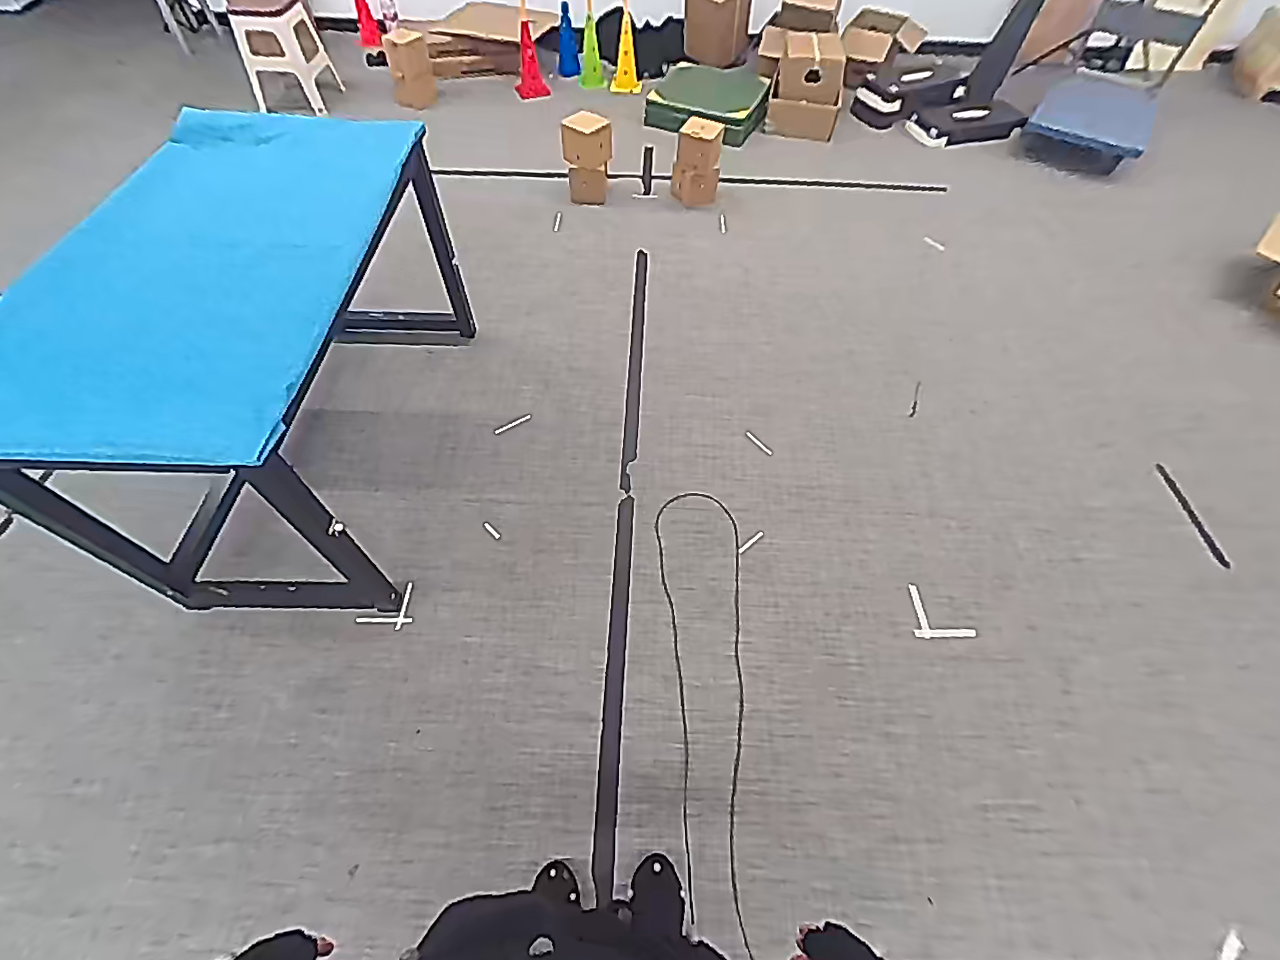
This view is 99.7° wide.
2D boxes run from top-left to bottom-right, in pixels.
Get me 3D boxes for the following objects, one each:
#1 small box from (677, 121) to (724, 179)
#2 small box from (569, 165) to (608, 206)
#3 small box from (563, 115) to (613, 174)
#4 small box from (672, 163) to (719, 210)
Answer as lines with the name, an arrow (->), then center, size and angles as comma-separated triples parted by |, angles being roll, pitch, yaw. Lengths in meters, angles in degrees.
small box -> 0.283, -1.568, 2.572 | 0.168, 0.176, 0.179 | 23, 57, 11
small box -> -0.253, -1.488, 2.694 | 0.179, 0.176, 0.168 | 3, 55, 1
small box -> -0.247, -1.593, 2.563 | 0.179, 0.176, 0.168 | 34, 60, 20
small box -> 0.273, -1.485, 2.713 | 0.179, 0.176, 0.168 | -23, 61, -17
